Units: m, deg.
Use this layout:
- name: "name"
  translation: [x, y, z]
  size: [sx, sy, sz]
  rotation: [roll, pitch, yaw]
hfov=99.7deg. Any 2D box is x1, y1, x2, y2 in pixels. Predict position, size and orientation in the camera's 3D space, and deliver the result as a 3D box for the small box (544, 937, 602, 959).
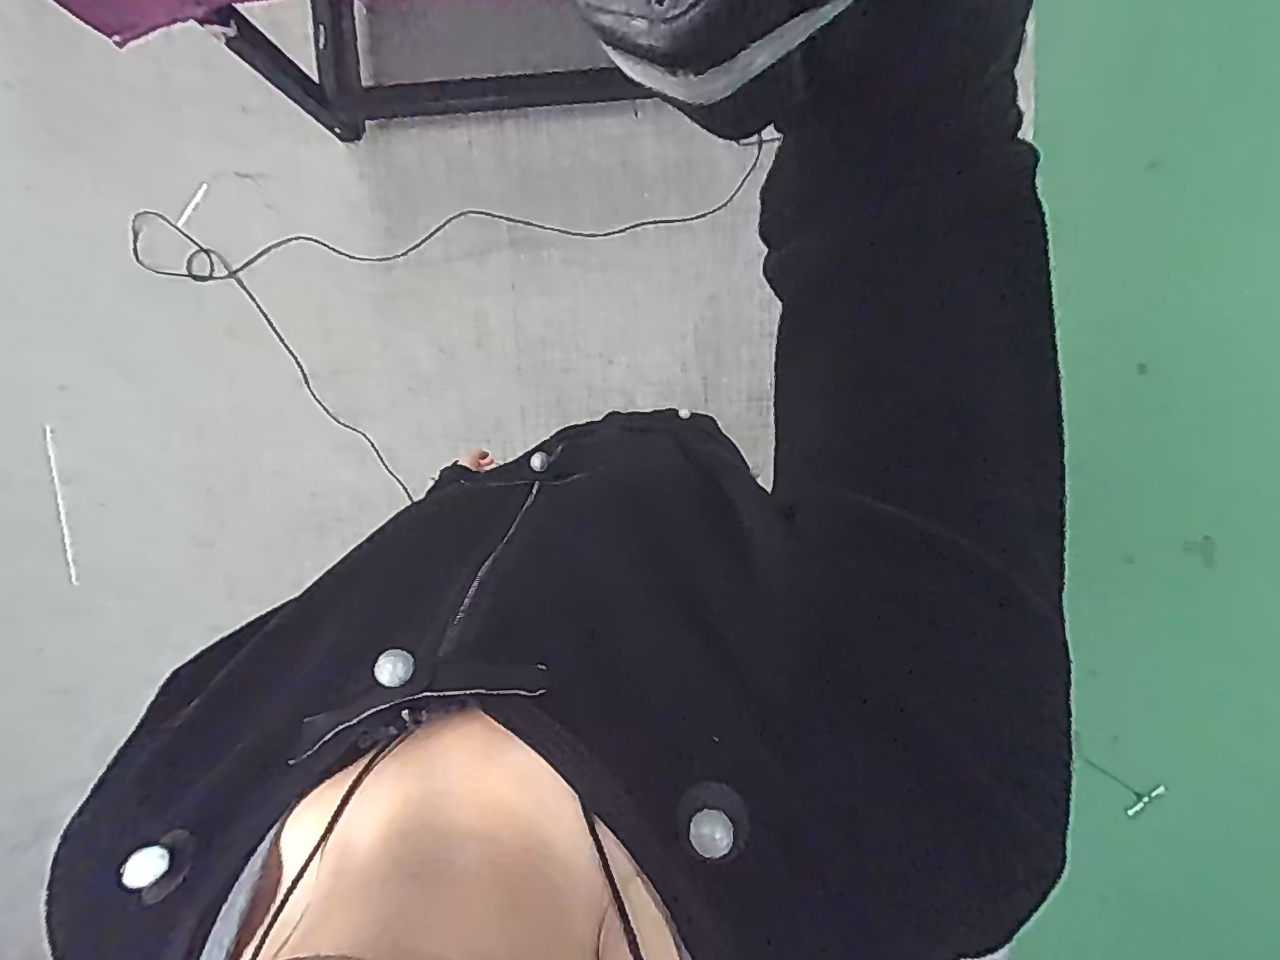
- name: "small box"
  translation: [-0.204, 1.494, 1.590]
  size: [0.168, 0.176, 0.179]
  rotation: [-2, 96, 4]
